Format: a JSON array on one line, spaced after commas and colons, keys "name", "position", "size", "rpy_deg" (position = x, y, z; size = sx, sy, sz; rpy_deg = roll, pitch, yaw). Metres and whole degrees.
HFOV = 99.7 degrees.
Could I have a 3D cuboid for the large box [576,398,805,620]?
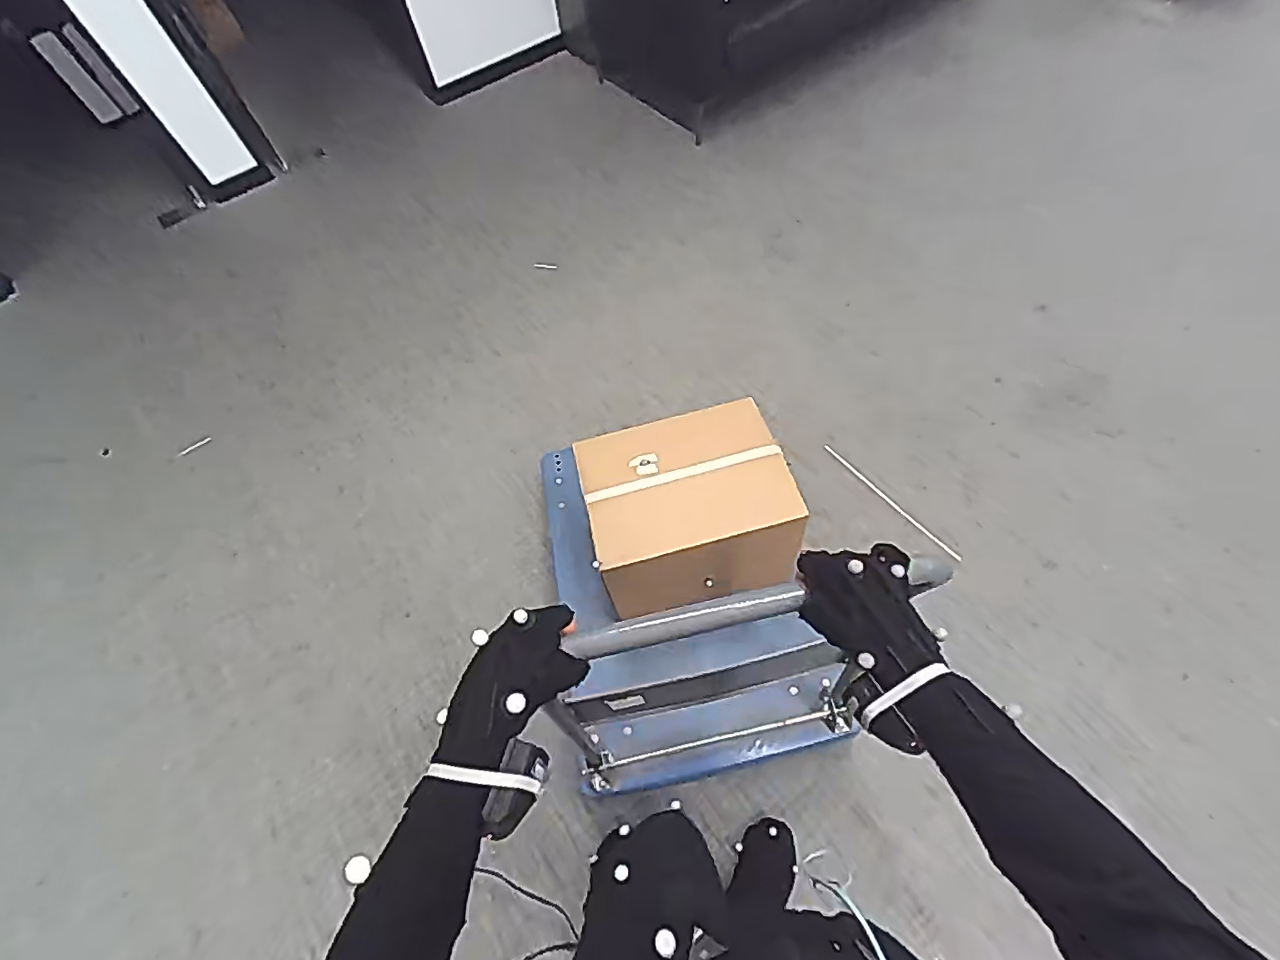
[{"name": "large box", "position": [0.108, 0.075, 1.219], "size": [0.408, 0.320, 0.320], "rpy_deg": [-16, 56, -1]}]
